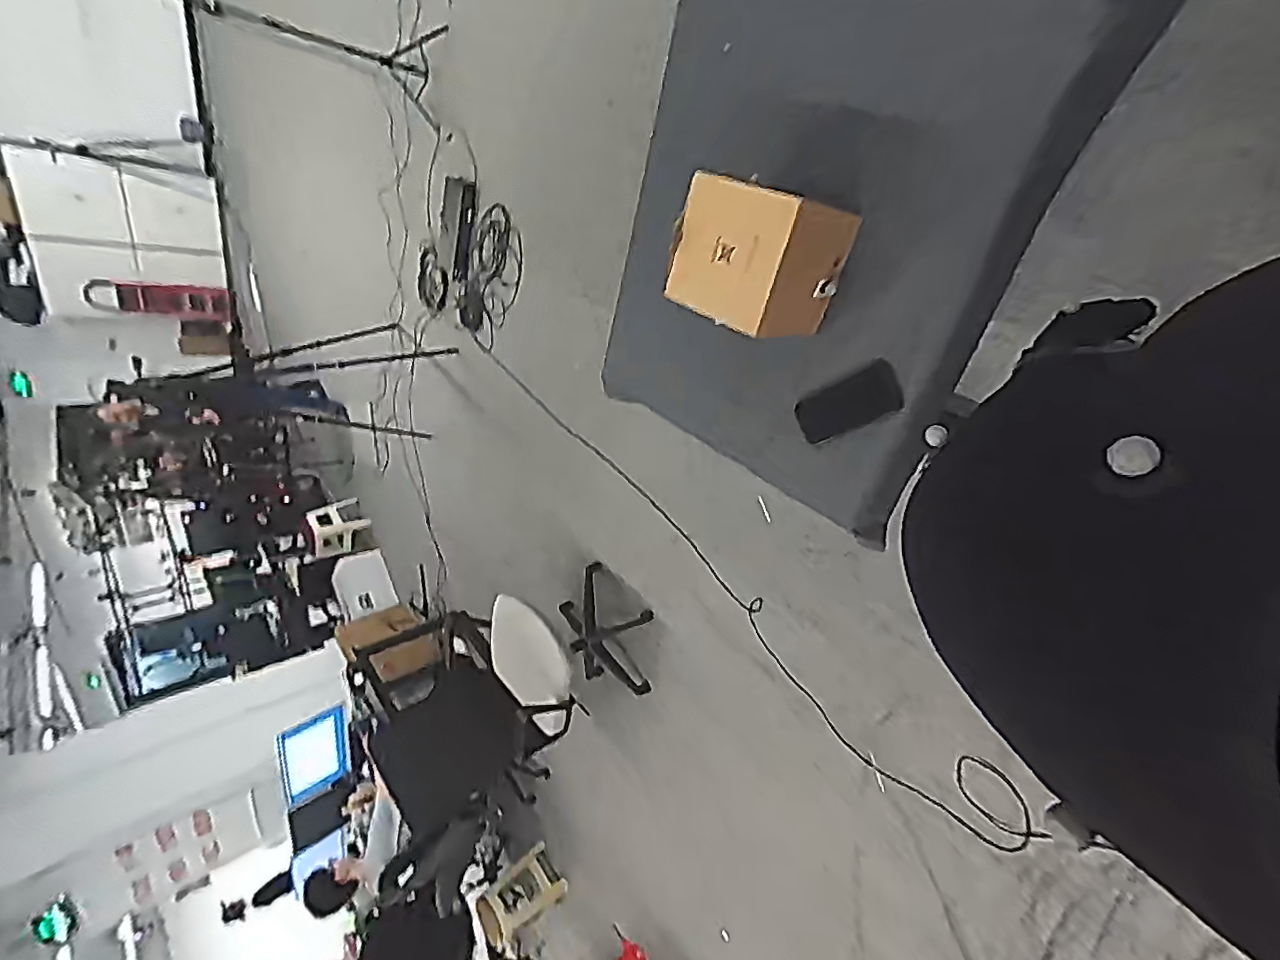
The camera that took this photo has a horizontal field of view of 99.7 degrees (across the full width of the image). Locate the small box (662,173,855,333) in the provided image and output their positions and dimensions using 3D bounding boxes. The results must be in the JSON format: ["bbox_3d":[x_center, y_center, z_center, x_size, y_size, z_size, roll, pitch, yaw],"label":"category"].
[{"bbox_3d":[0.164,-0.315,0.764,0.179,0.176,0.168,36,126,34],"label":"small box"}]
